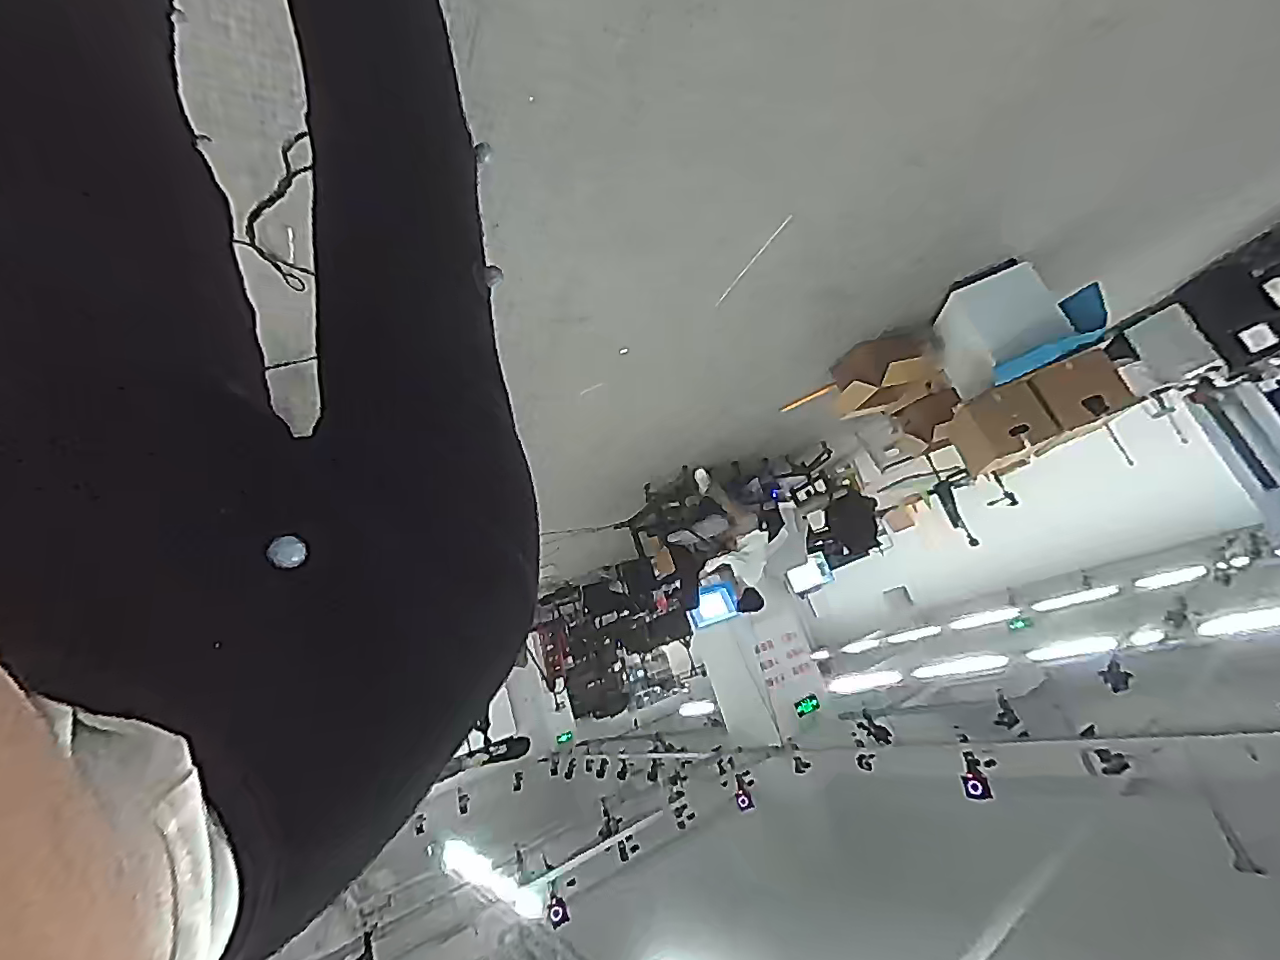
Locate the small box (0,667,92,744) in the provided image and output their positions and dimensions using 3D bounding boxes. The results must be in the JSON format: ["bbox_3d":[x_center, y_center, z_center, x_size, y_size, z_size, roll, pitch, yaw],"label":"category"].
[{"bbox_3d":[-1.820,0.685,1.652,0.168,0.176,0.179,-8,159,-33],"label":"small box"}]

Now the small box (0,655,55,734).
[{"bbox_3d":[-1.690,0.574,1.430,0.168,0.176,0.179,-9,161,-35],"label":"small box"}]
